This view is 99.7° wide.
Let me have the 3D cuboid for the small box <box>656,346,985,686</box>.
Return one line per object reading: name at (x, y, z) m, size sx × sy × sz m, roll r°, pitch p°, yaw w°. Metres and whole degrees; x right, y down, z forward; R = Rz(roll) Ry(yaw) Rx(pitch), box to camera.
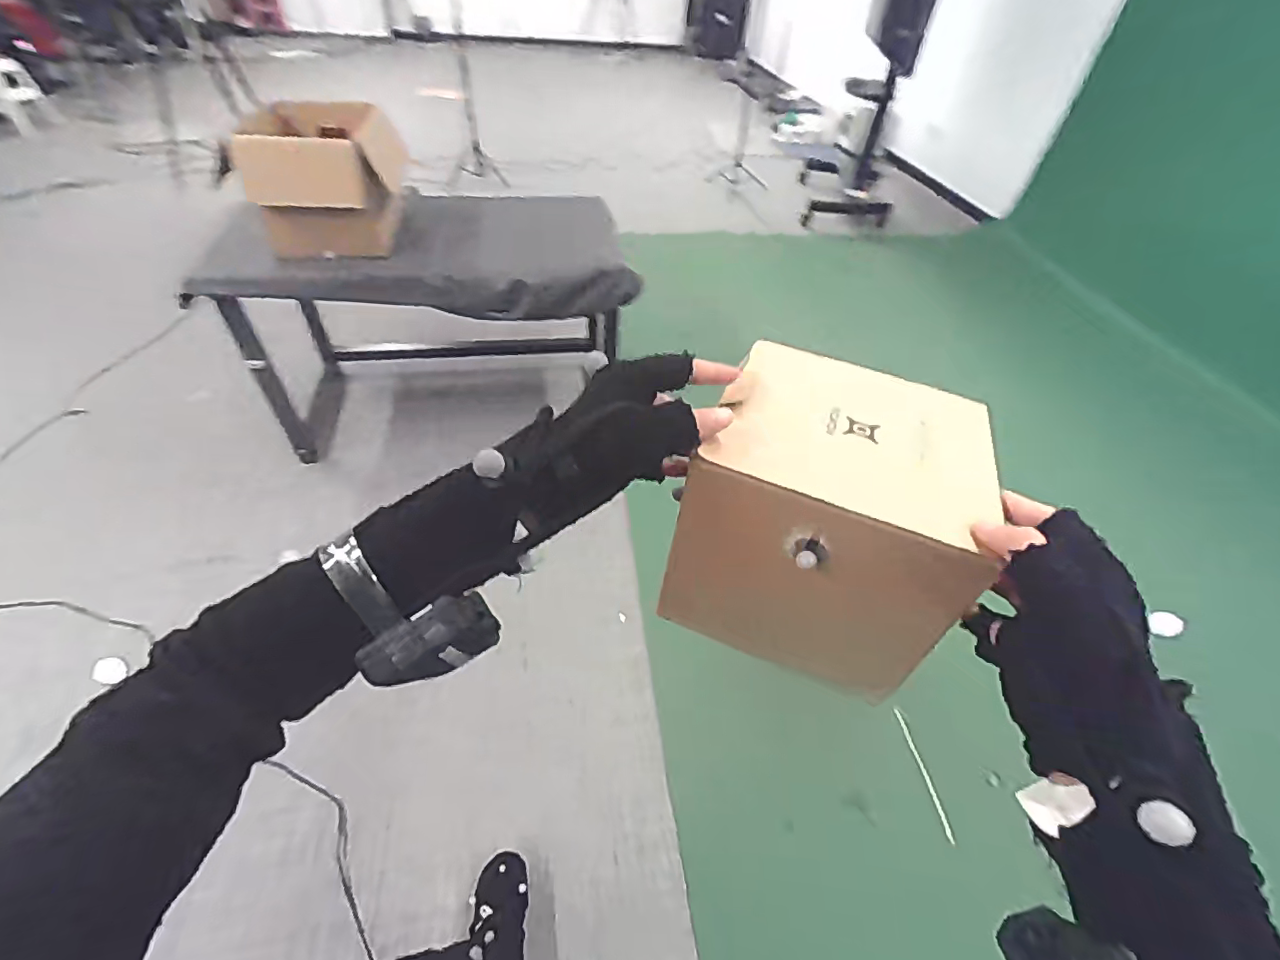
small box at (0.124, 0.027, 0.416) m, size 0.179 × 0.176 × 0.168 m, roll 20°, pitch 44°, yaw 11°
